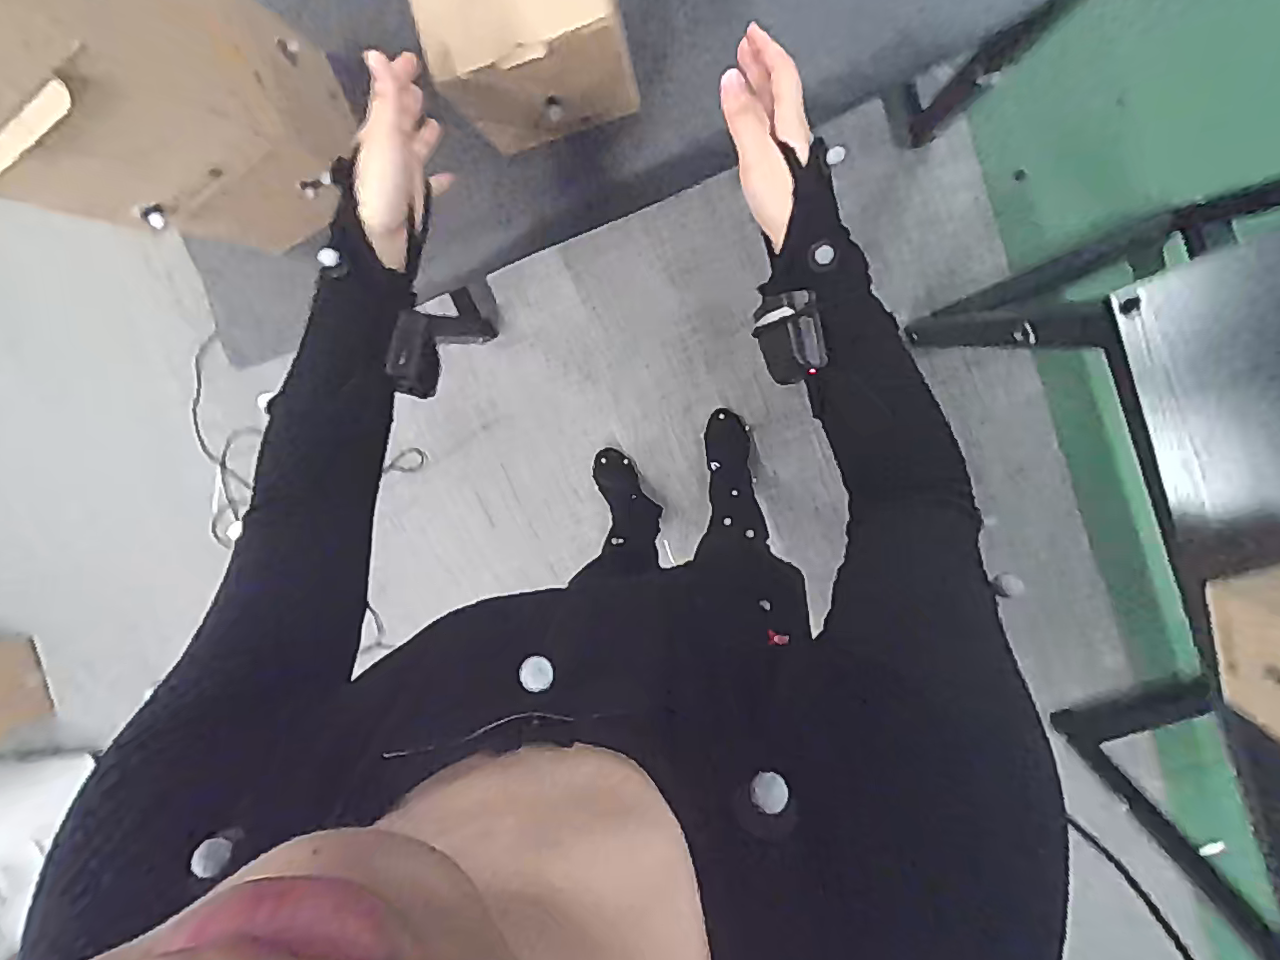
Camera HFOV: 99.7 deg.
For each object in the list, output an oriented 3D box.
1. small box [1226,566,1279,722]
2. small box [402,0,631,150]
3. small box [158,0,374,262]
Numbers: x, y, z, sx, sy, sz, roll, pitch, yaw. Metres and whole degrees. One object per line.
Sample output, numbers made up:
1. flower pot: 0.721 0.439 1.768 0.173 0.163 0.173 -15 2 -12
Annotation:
1. small box: 0.772 0.187 0.558 0.179 0.176 0.168 -19 101 12
2. small box: -0.115 -0.453 0.527 0.168 0.176 0.179 -13 101 11
3. small box: -0.429 -0.366 0.595 0.179 0.176 0.168 -23 97 13
